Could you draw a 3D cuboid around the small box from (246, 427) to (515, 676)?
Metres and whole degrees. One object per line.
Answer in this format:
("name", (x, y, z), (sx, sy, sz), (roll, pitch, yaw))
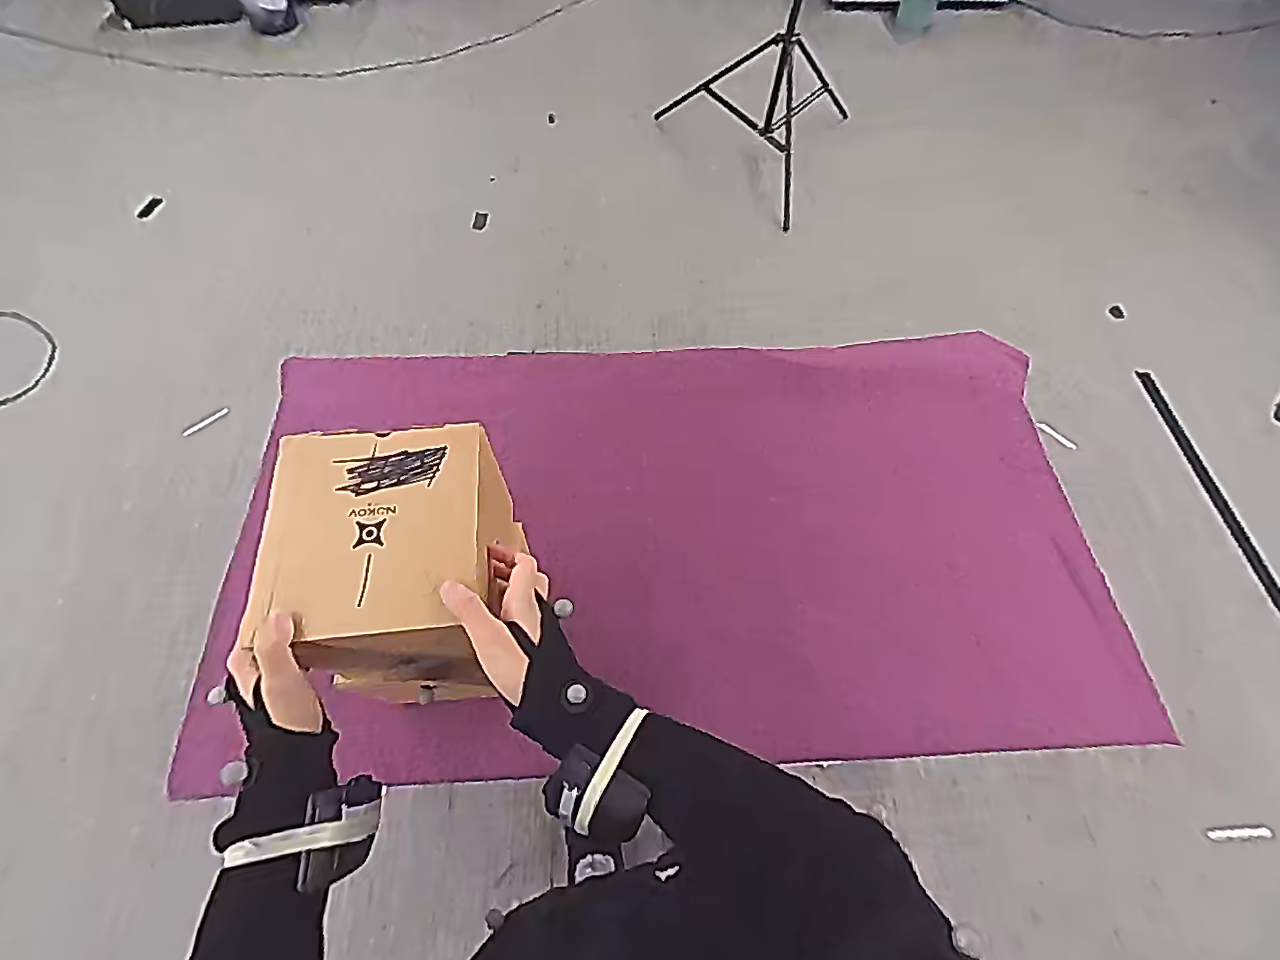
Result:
("small box", (-0.211, 0.072, 0.498), (0.168, 0.176, 0.179), (-5, 64, -5))

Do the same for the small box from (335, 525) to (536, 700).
("small box", (-0.219, 0.161, 0.637), (0.179, 0.176, 0.168), (-2, 63, -4))
